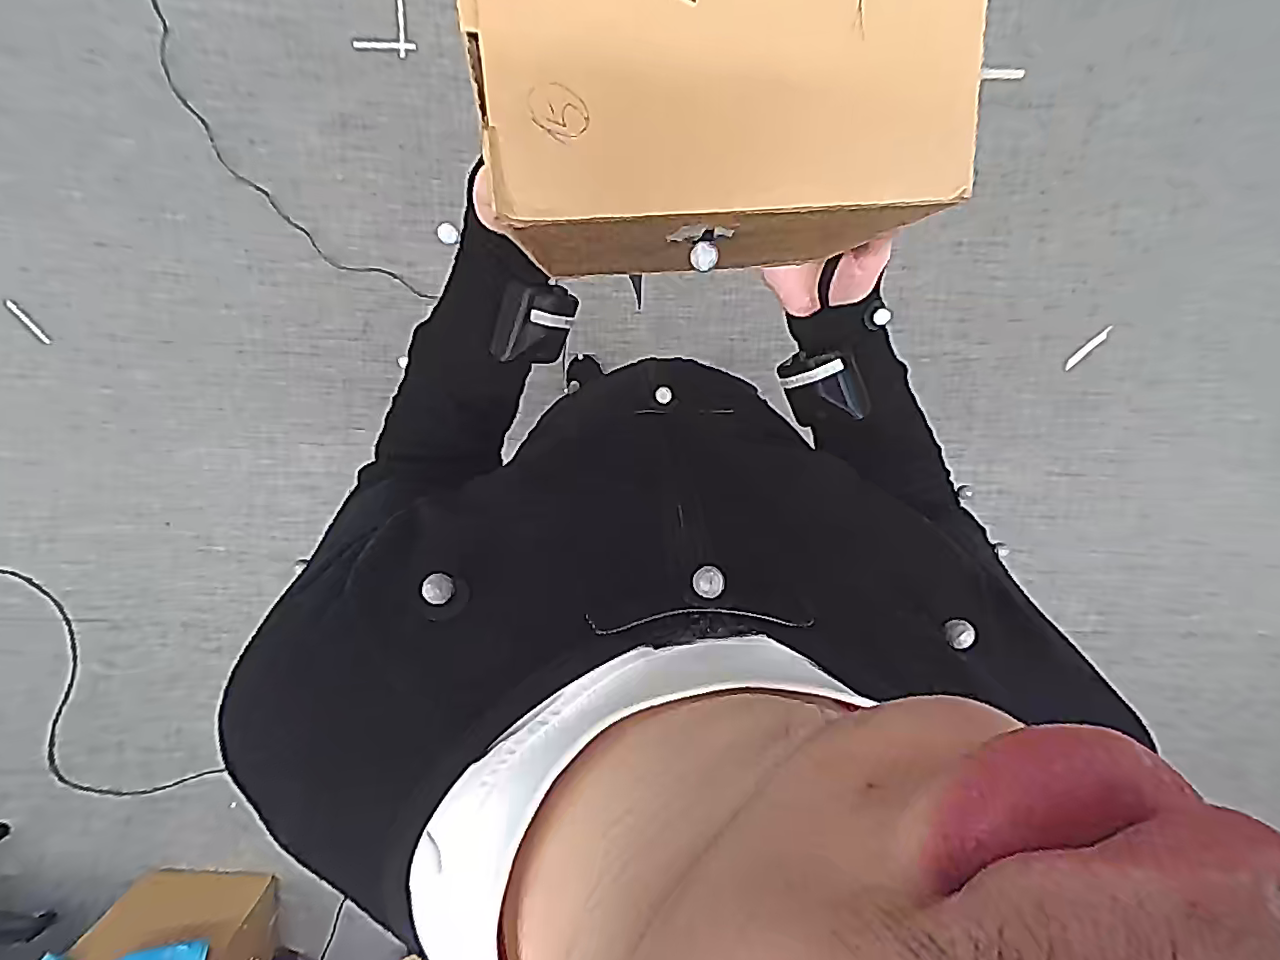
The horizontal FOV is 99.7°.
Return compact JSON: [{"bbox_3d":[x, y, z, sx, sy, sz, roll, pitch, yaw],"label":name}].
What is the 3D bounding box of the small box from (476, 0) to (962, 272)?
[{"bbox_3d":[0.025,-0.201,0.265,0.179,0.176,0.168,-4,105,-2],"label":"small box"}]
